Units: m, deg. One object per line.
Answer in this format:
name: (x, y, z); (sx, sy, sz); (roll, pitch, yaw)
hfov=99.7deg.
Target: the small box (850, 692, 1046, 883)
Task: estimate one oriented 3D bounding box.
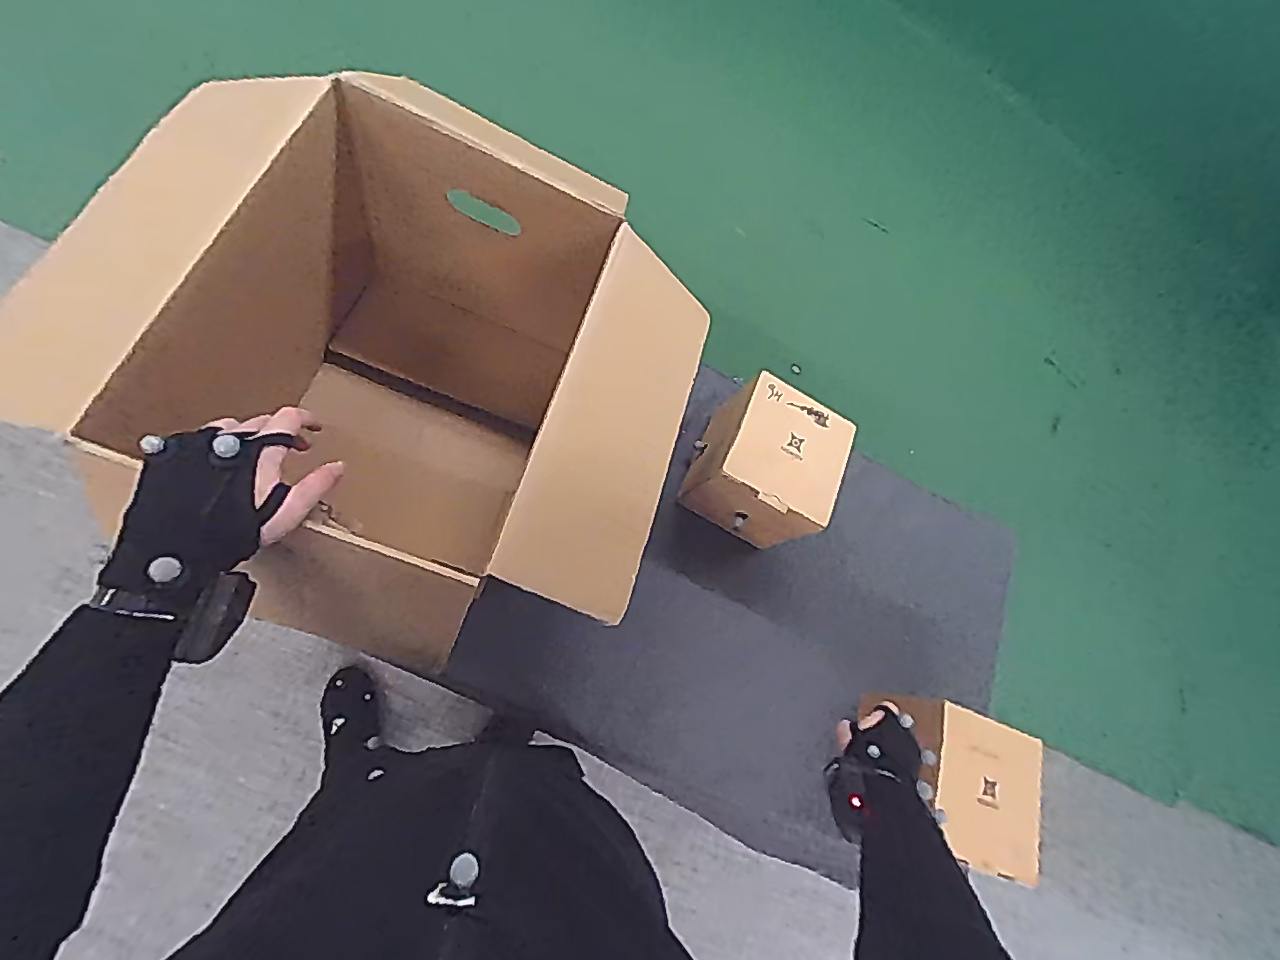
small box: (0.422, 0.414, 0.759); (0.168, 0.176, 0.179); (25, 66, -10)
